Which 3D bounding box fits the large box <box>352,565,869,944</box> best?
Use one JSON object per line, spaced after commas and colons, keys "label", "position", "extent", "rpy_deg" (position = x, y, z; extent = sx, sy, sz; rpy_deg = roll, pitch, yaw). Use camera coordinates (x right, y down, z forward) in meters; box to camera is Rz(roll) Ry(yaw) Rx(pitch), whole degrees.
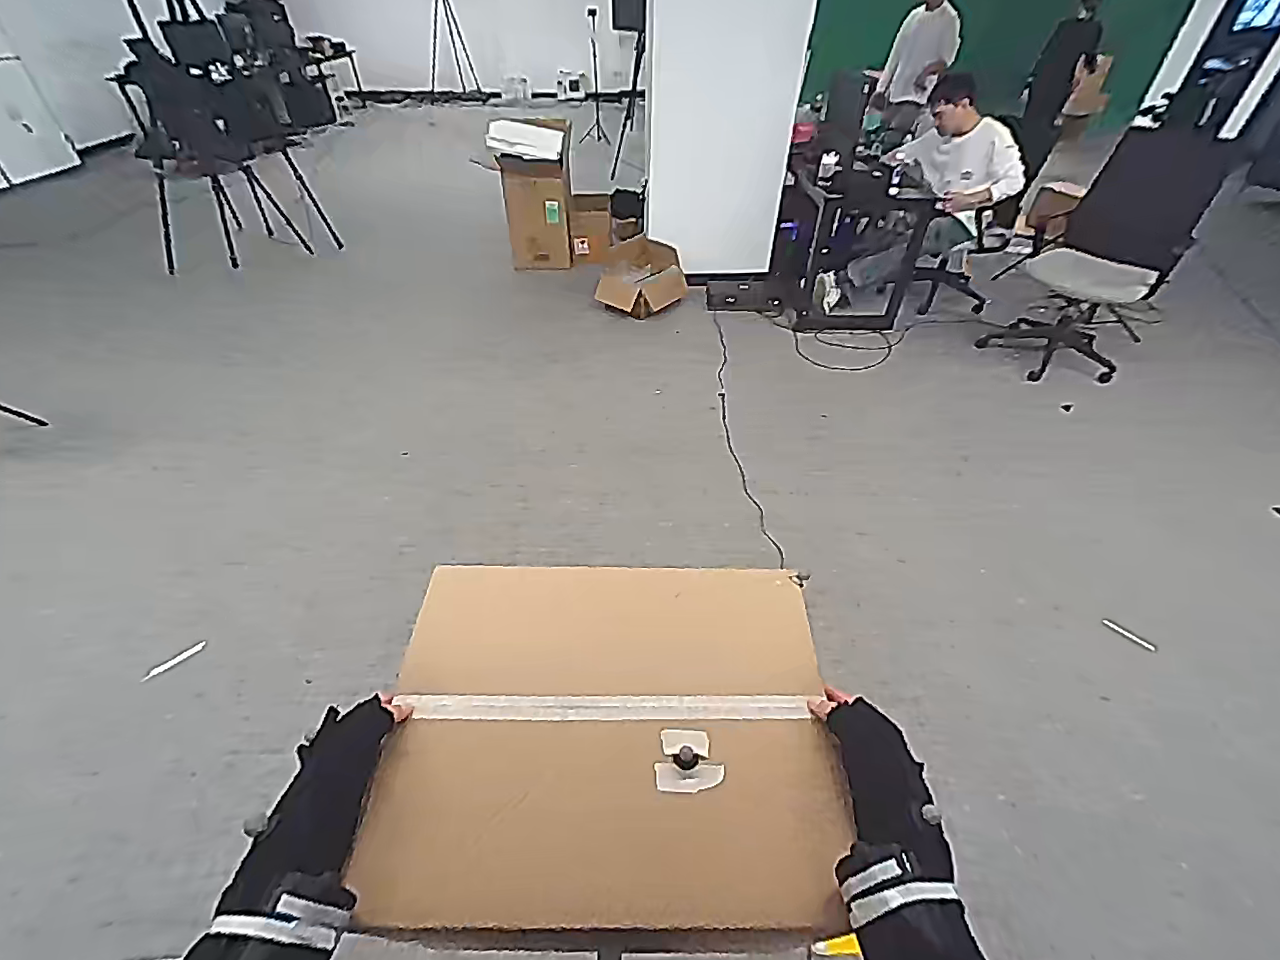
{"label": "large box", "position": [-0.027, 0.312, 0.617], "extent": [0.408, 0.320, 0.320], "rpy_deg": [1, 47, -1]}
